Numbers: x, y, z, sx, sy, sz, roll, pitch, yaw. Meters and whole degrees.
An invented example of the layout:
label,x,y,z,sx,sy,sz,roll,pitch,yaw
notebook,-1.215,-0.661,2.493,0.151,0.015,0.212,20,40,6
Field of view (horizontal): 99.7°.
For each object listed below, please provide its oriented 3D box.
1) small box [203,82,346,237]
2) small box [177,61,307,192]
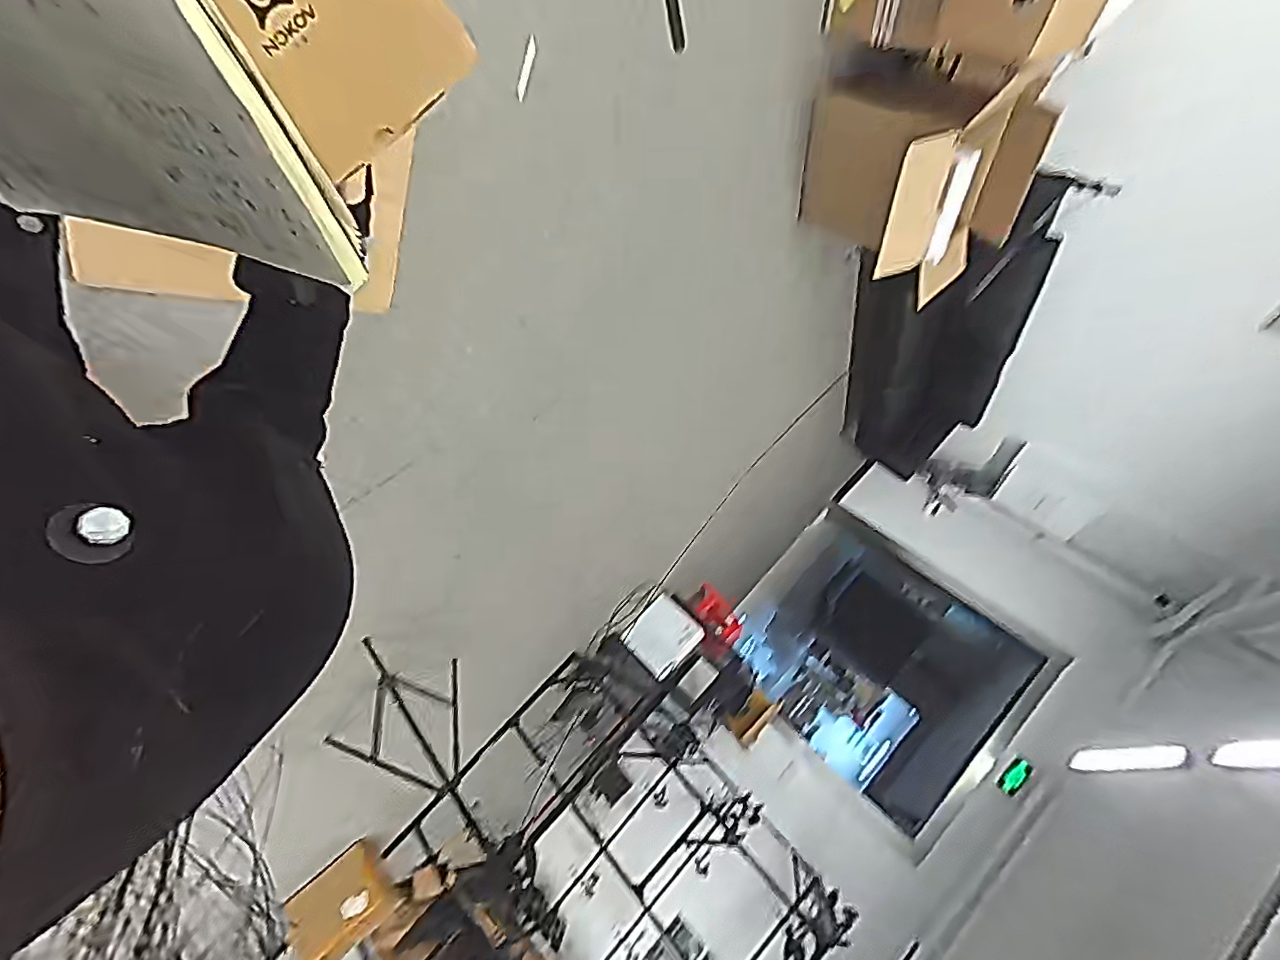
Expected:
label,x,y,z,sx,sy,sz,roll,pitch,yaw
small box,-0.639,-0.555,0.943,0.168,0.176,0.179,-12,135,-47
small box,-0.749,-0.648,1.024,0.168,0.176,0.179,-13,136,-46
